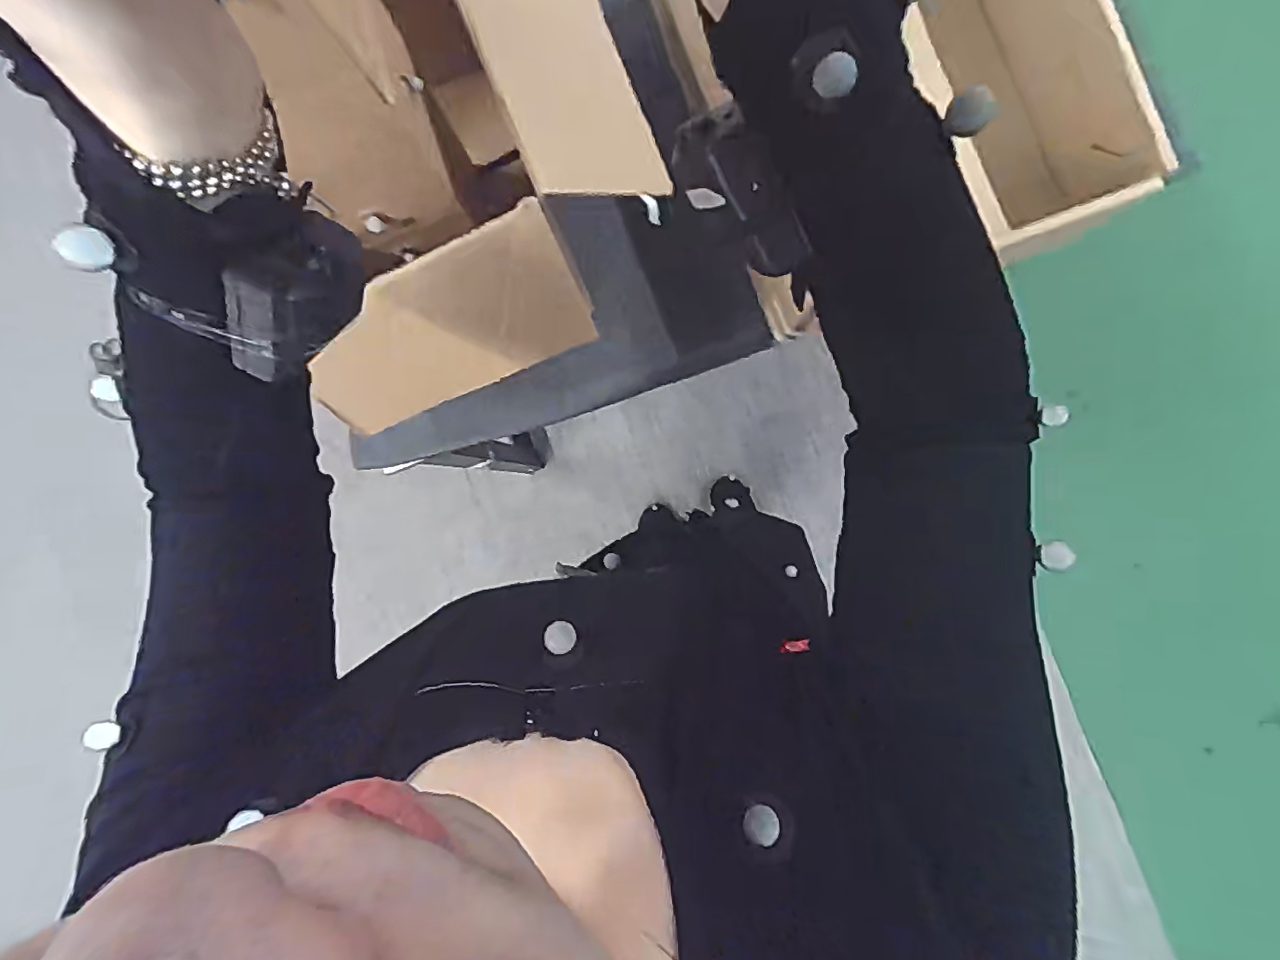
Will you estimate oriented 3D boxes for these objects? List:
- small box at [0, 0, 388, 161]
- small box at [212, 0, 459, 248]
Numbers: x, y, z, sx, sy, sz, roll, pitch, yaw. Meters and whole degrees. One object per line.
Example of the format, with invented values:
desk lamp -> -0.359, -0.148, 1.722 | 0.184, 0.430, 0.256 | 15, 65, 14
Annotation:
small box -> -0.316, -0.365, 0.379 | 0.179, 0.176, 0.168 | -17, 89, 3
small box -> -0.308, -0.369, 0.540 | 0.168, 0.176, 0.179 | -18, 91, 3
